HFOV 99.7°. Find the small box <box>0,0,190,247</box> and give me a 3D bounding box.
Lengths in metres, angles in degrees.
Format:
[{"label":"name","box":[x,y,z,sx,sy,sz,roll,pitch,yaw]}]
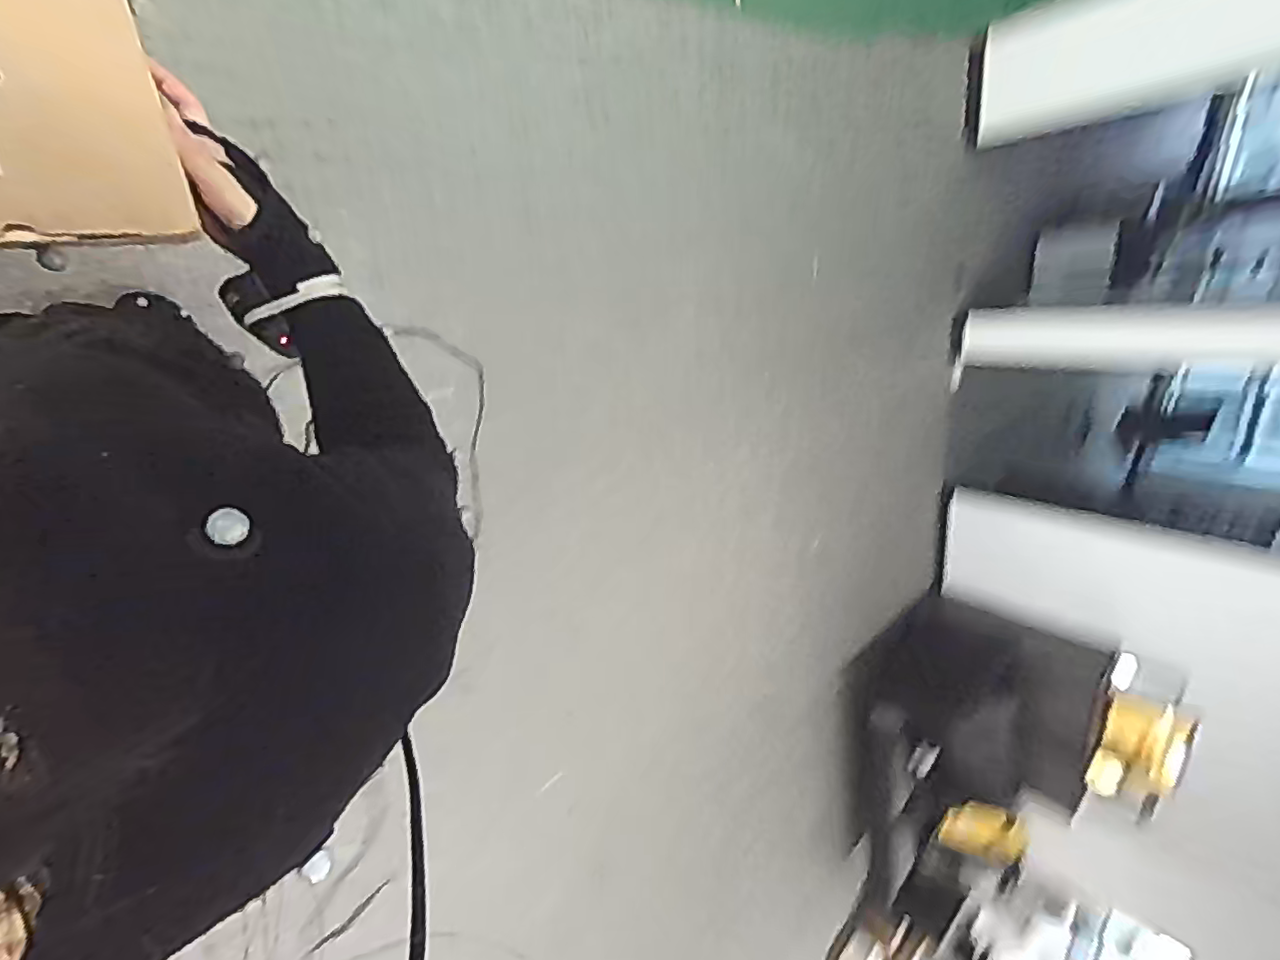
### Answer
[{"label":"small box","box":[-0.400,-0.235,0.318,0.168,0.176,0.179,-19,119,-37]}]
